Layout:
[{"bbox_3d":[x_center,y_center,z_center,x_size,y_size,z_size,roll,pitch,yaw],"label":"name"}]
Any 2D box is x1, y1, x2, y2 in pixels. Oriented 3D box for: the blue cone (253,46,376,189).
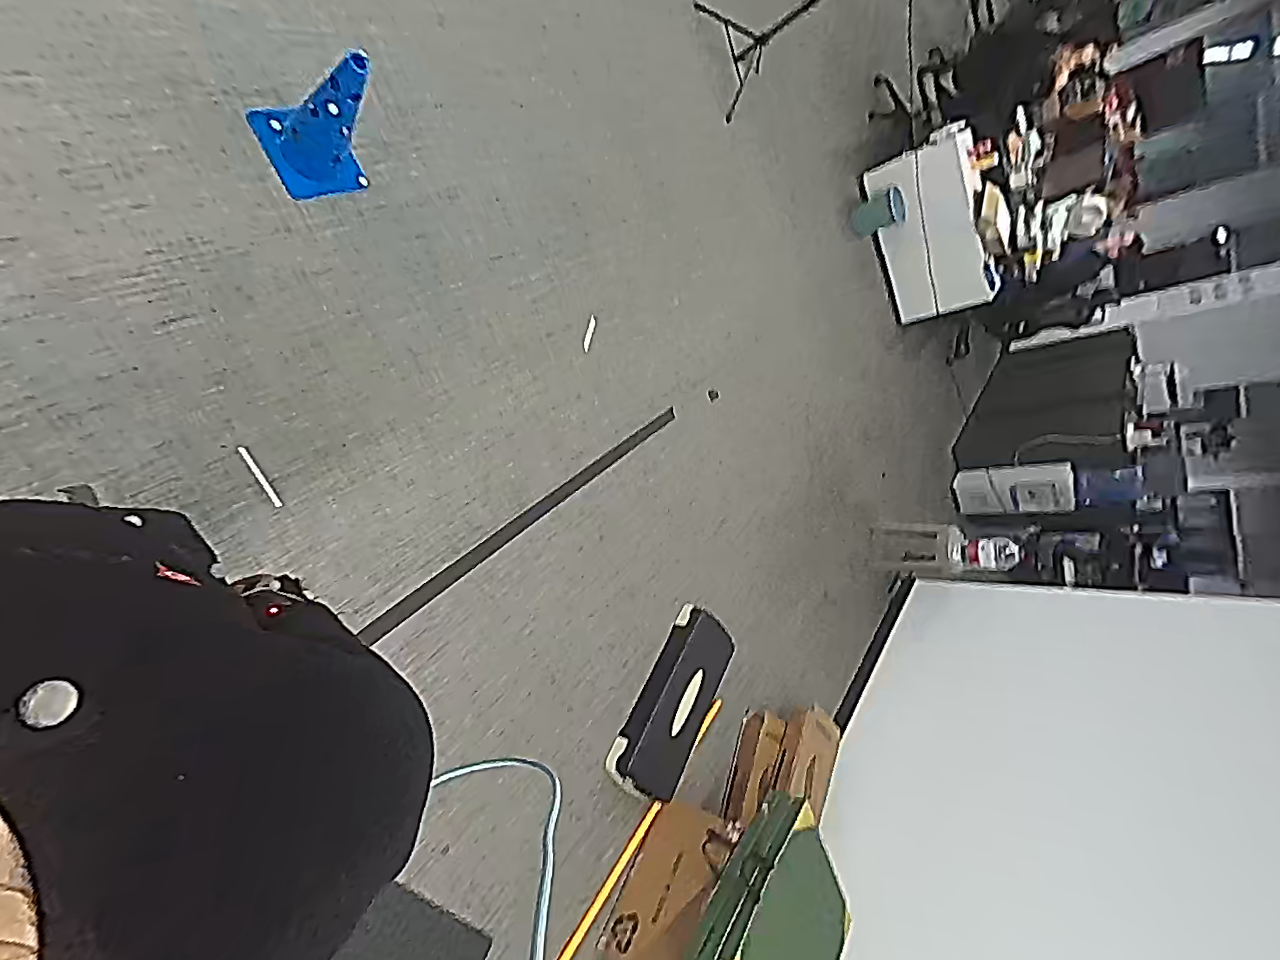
[{"bbox_3d":[-0.671,-0.808,1.174,0.192,0.380,0.193,-38,113,-41],"label":"blue cone"}]
